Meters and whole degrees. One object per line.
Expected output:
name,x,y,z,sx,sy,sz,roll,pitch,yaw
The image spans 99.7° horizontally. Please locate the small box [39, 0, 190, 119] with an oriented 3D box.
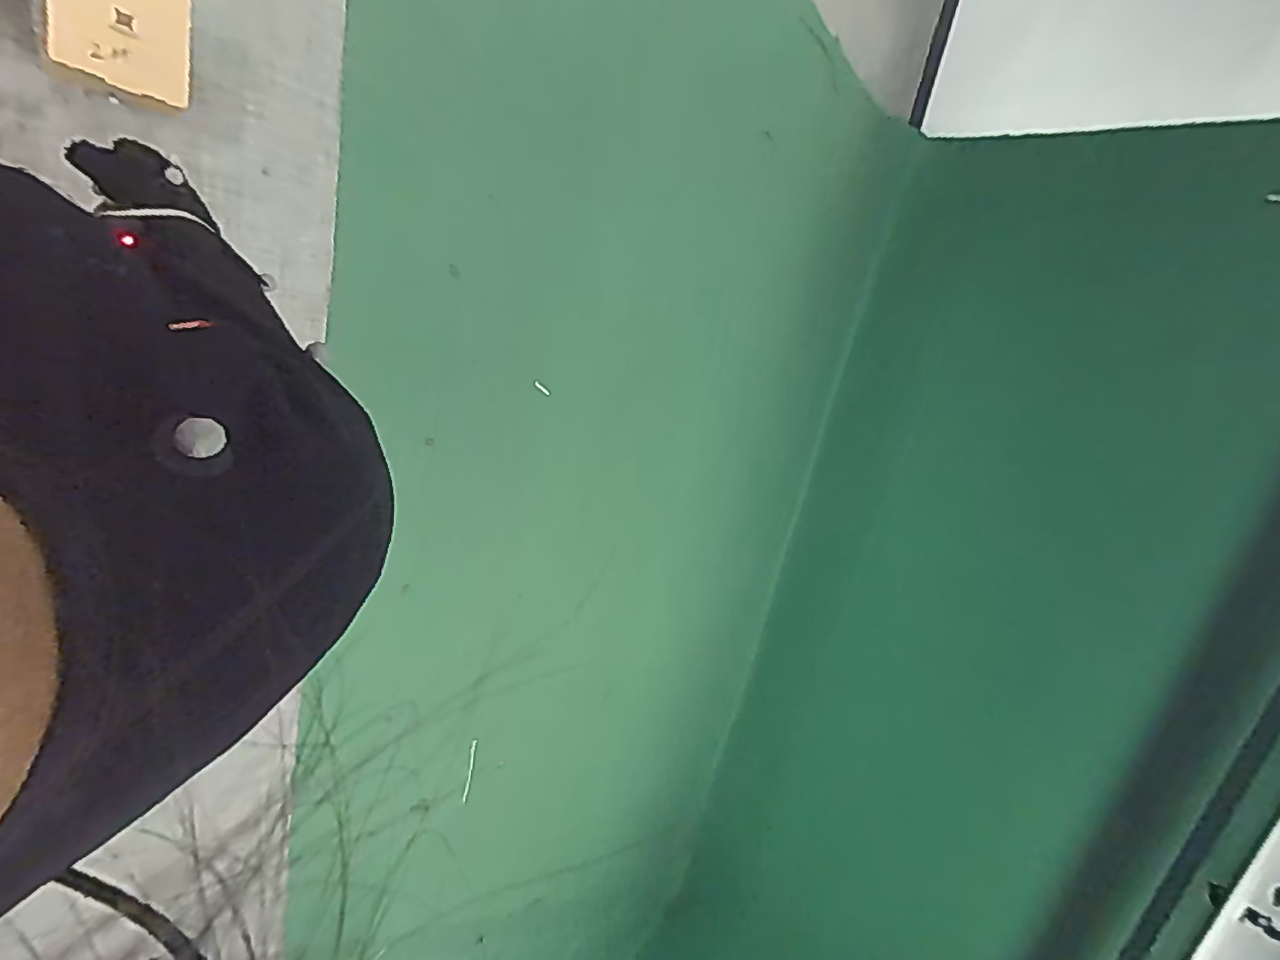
small box,-0.881,-0.741,0.905,0.168,0.176,0.179,-2,110,-49
